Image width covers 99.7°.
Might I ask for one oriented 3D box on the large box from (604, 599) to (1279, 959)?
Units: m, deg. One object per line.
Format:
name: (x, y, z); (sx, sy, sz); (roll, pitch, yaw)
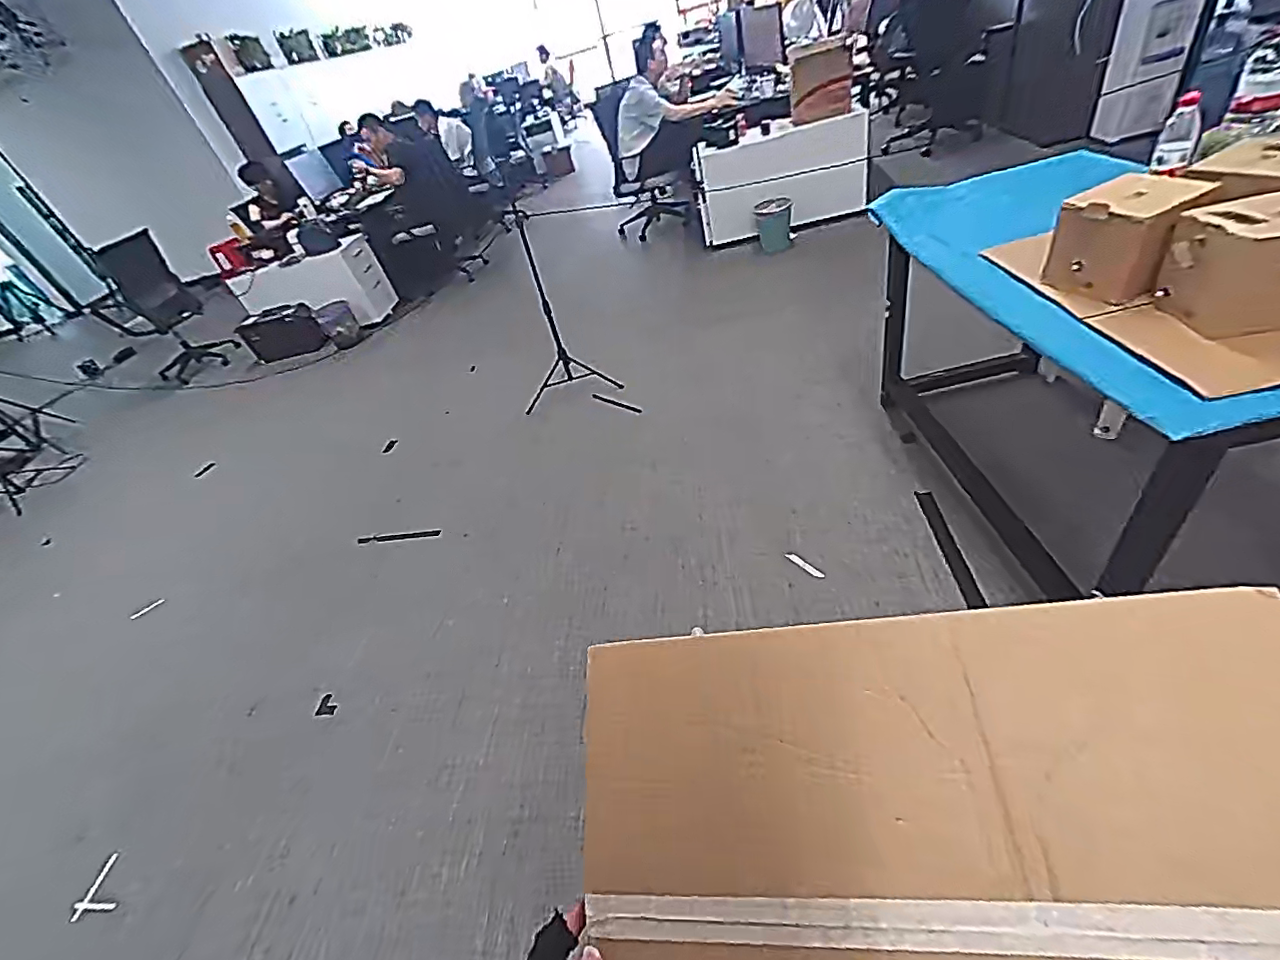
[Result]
large box: (0.211, 0.301, 0.416); (0.408, 0.320, 0.320); (-10, 63, 14)
